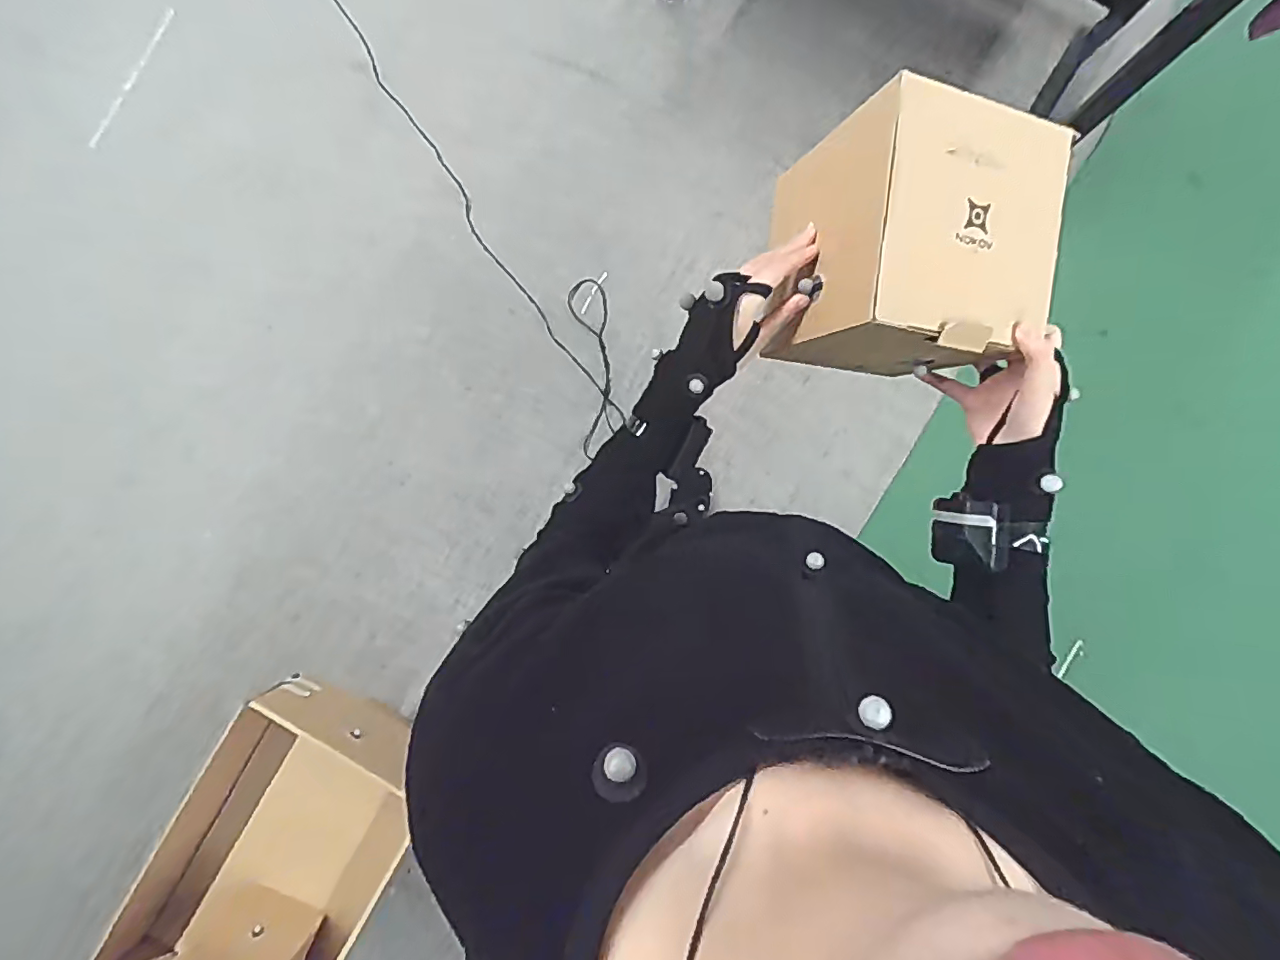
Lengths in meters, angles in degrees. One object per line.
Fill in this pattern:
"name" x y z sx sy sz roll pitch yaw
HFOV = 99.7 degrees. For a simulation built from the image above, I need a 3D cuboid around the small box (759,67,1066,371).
"small box" 0.223 -0.202 0.482 0.168 0.176 0.179 6 92 -17
